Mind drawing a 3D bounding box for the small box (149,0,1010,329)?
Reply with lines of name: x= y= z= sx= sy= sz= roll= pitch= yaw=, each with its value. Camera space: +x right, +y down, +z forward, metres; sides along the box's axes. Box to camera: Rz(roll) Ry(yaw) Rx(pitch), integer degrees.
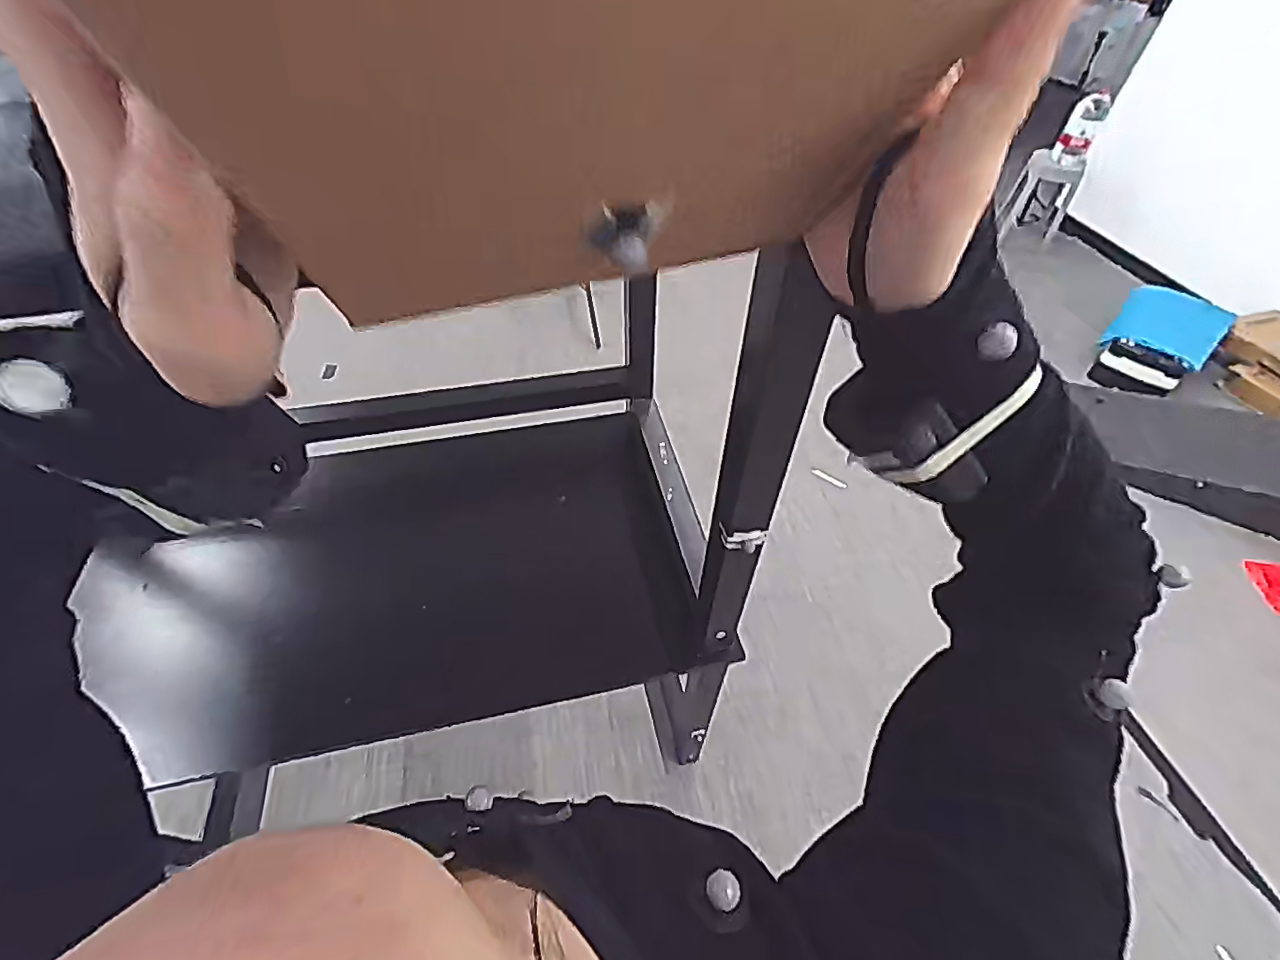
small box: x=-0.018 y=-0.158 z=0.129 sx=0.179 sy=0.176 sz=0.168 roll=-15 pitch=88 yaw=-12
